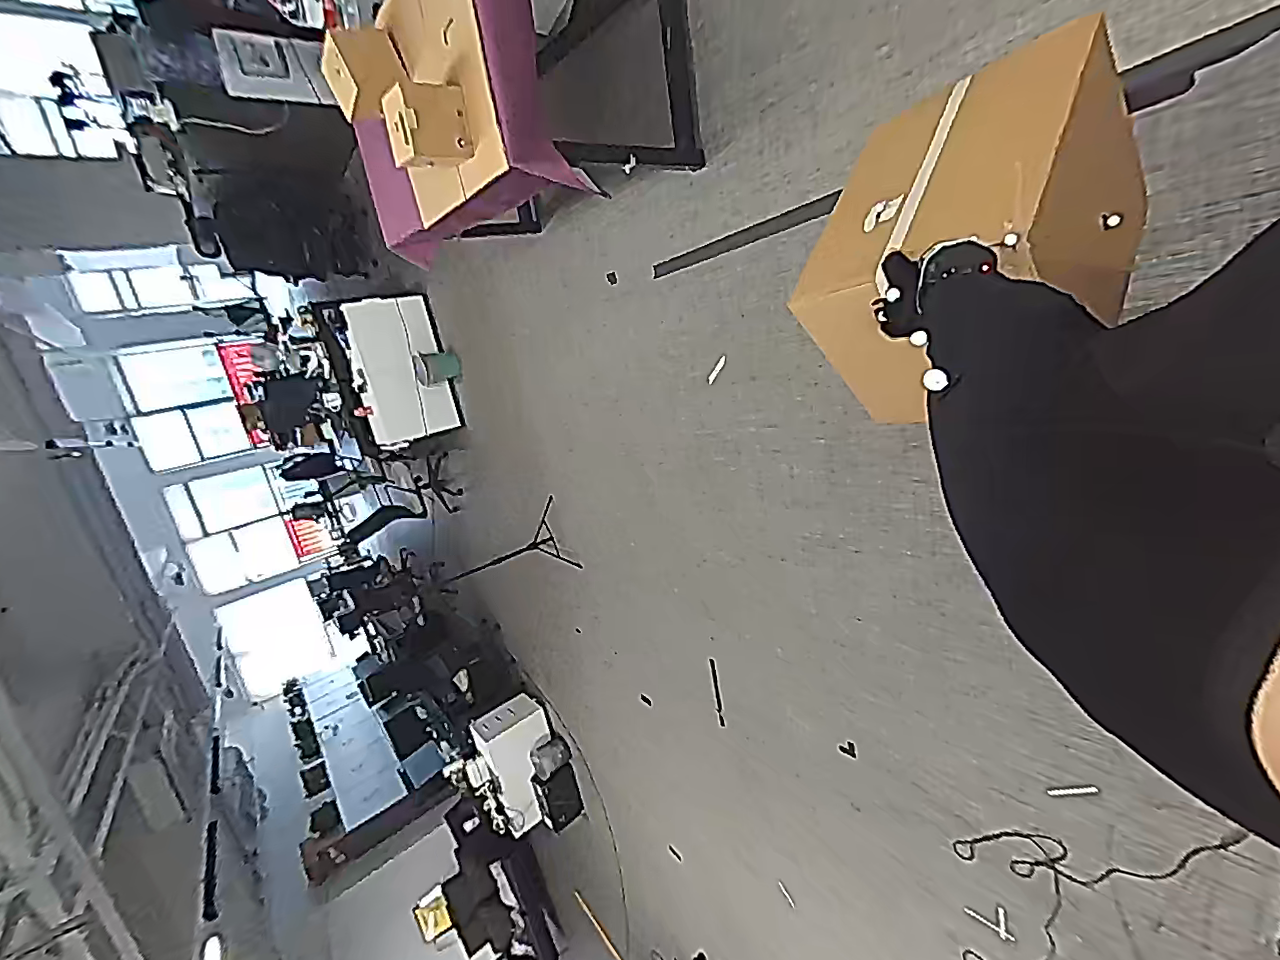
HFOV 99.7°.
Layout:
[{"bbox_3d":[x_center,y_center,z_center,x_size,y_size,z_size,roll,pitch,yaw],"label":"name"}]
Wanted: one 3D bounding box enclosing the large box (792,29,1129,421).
[{"bbox_3d":[0.504,-0.346,0.838,0.320,0.408,0.320,37,160,-31],"label":"large box"}]
